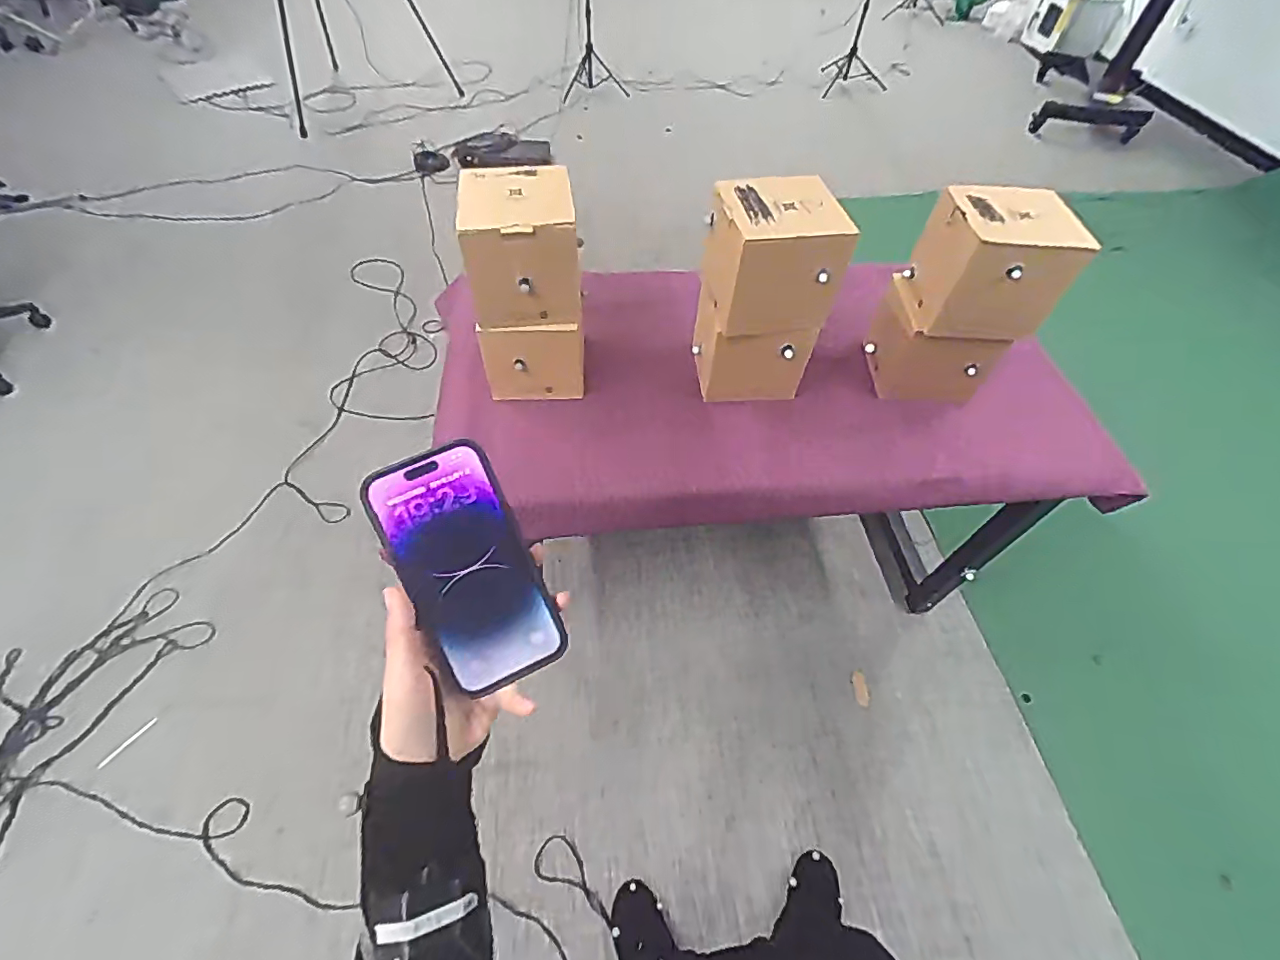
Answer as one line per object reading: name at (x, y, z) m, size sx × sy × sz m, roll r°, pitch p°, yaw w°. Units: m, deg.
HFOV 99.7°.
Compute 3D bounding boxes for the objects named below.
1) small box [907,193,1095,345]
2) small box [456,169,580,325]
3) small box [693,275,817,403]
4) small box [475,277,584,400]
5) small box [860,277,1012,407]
small box at (0.556, -0.335, 0.871) m, size 0.179 × 0.176 × 0.168 m, roll 4°, pitch 54°, yaw -1°
small box at (-0.185, -0.362, 0.858) m, size 0.168 × 0.176 × 0.179 m, roll -5°, pitch 56°, yaw -7°
small box at (0.200, -0.255, 0.998) m, size 0.179 × 0.176 × 0.168 m, roll -2°, pitch 55°, yaw -3°
small box at (-0.190, -0.261, 0.987) m, size 0.168 × 0.176 × 0.179 m, roll -1°, pitch 55°, yaw -3°
small box at (0.541, -0.253, 1.012) m, size 0.179 × 0.176 × 0.168 m, roll 3°, pitch 54°, yaw 0°
